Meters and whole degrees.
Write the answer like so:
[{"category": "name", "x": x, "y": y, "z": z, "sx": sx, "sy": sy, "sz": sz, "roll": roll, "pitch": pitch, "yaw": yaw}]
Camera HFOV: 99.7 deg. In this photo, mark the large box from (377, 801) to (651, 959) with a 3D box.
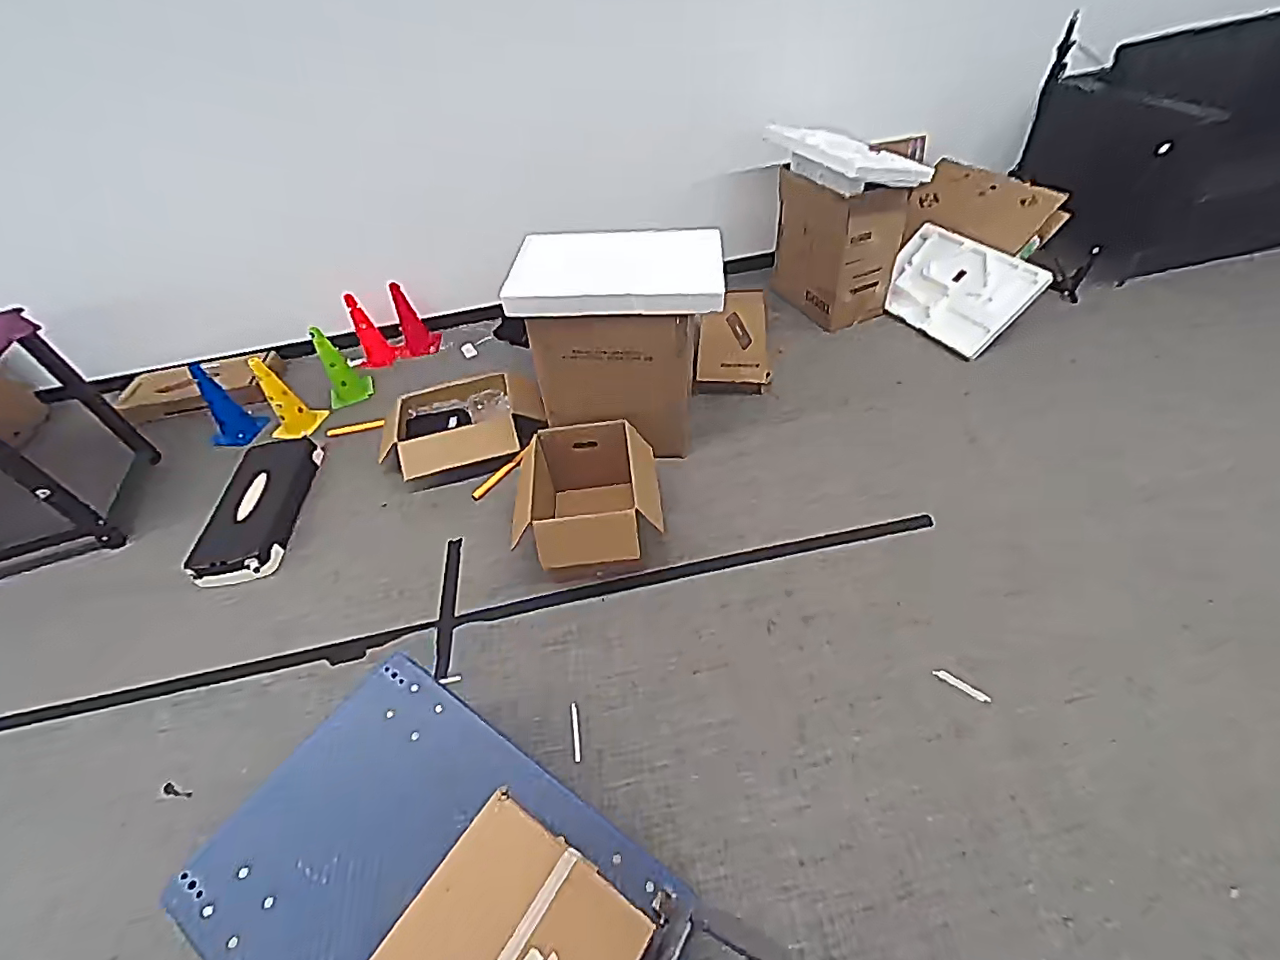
[{"category": "large box", "x": -0.223, "y": 0.799, "z": 0.824, "sx": 0.320, "sy": 0.320, "sz": 0.408, "roll": 29, "pitch": 55, "yaw": 17}]
